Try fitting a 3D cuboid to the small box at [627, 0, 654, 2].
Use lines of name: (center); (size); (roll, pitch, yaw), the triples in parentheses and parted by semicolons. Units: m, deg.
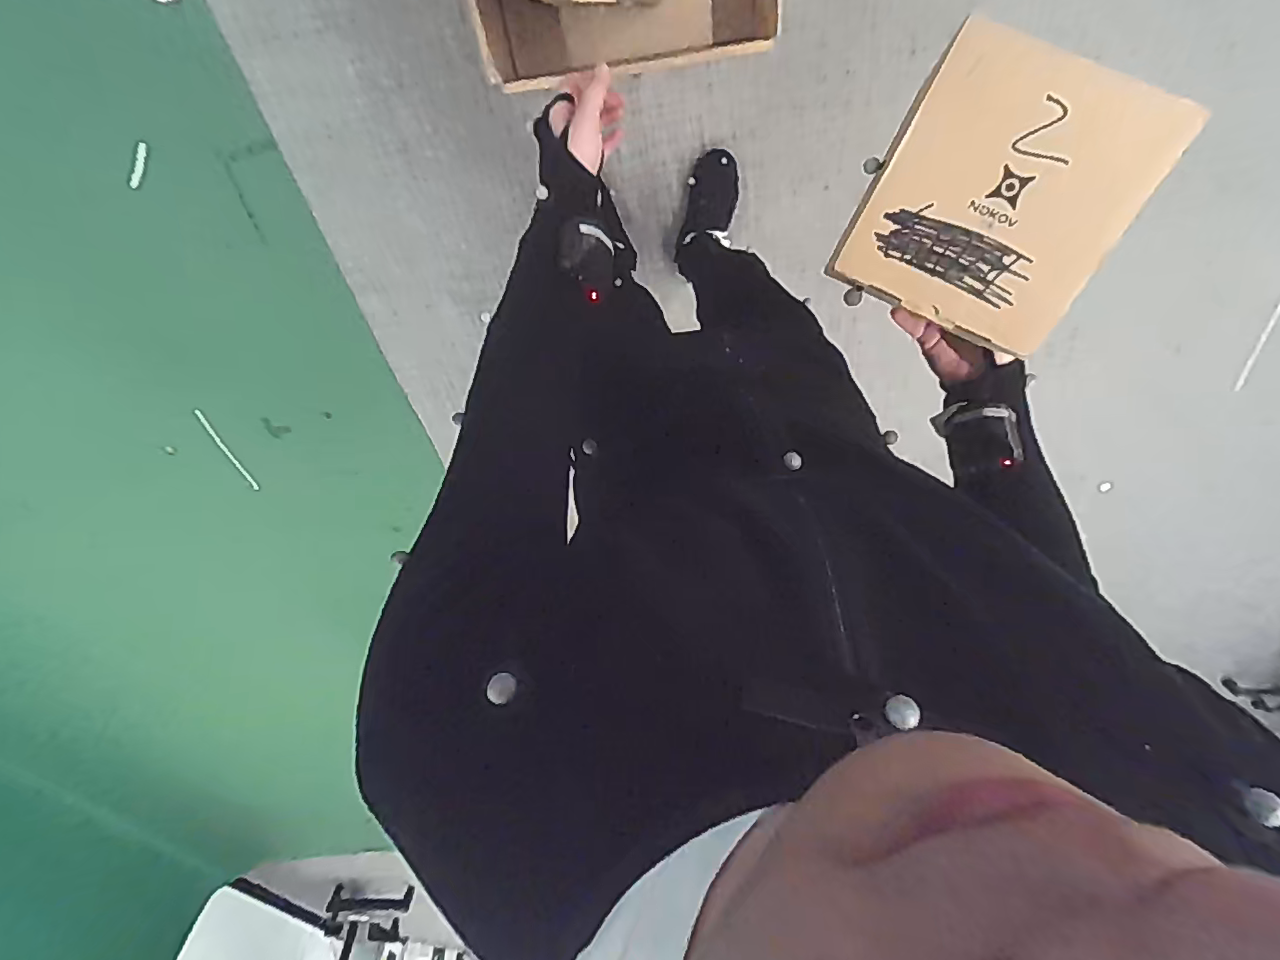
small box: (-0.047, -0.608, 0.546); (0.168, 0.176, 0.179); (0, 126, -2)
